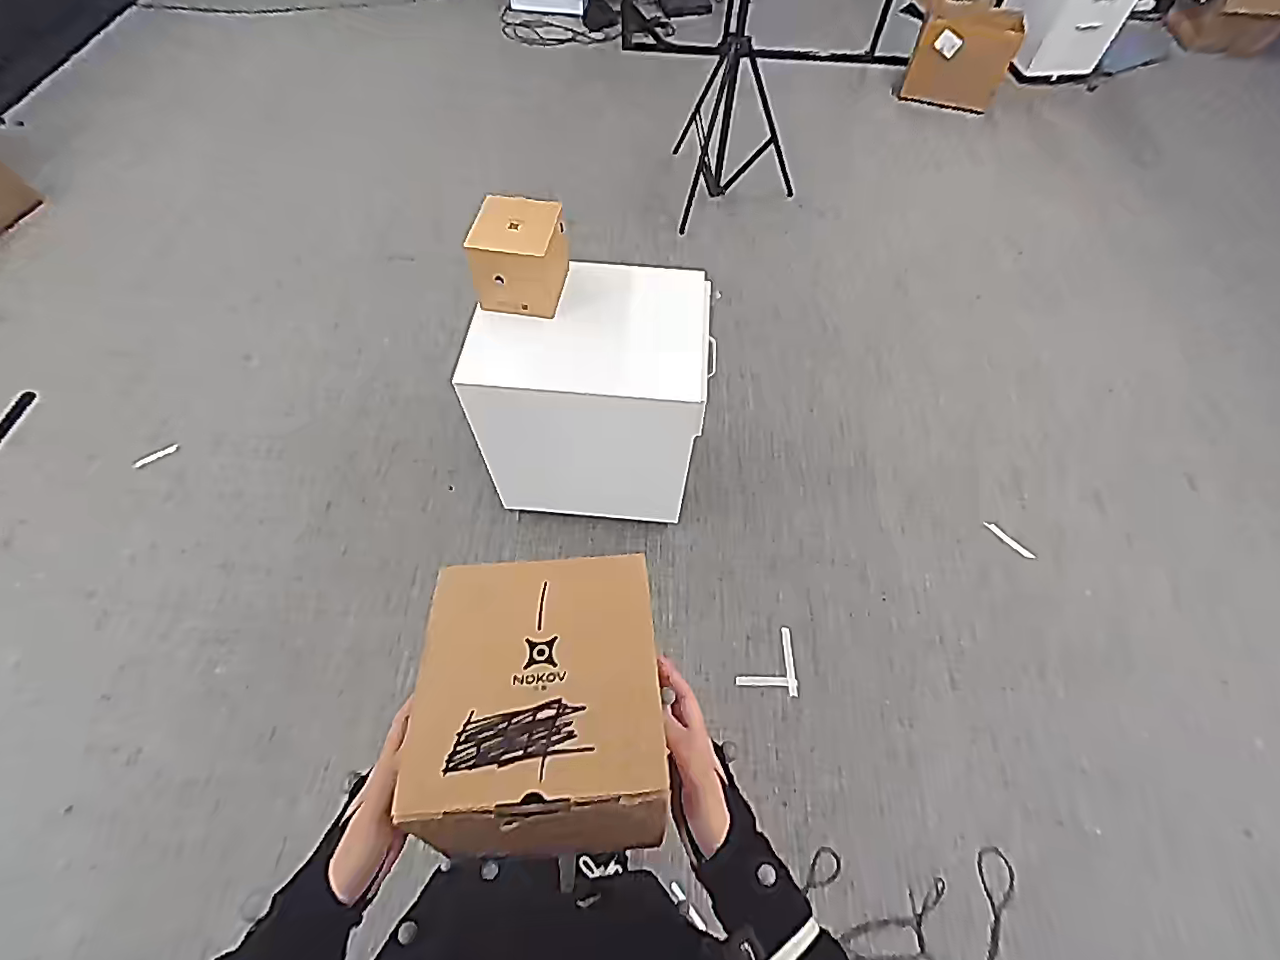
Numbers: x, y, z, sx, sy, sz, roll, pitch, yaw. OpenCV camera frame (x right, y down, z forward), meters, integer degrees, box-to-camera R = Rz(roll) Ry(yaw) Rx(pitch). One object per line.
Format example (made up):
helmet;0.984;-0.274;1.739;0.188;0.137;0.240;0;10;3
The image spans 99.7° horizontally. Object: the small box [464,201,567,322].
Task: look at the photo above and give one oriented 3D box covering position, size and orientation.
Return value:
small box;-0.256;-0.467;1.167;0.168;0.176;0.179;8;60;2
